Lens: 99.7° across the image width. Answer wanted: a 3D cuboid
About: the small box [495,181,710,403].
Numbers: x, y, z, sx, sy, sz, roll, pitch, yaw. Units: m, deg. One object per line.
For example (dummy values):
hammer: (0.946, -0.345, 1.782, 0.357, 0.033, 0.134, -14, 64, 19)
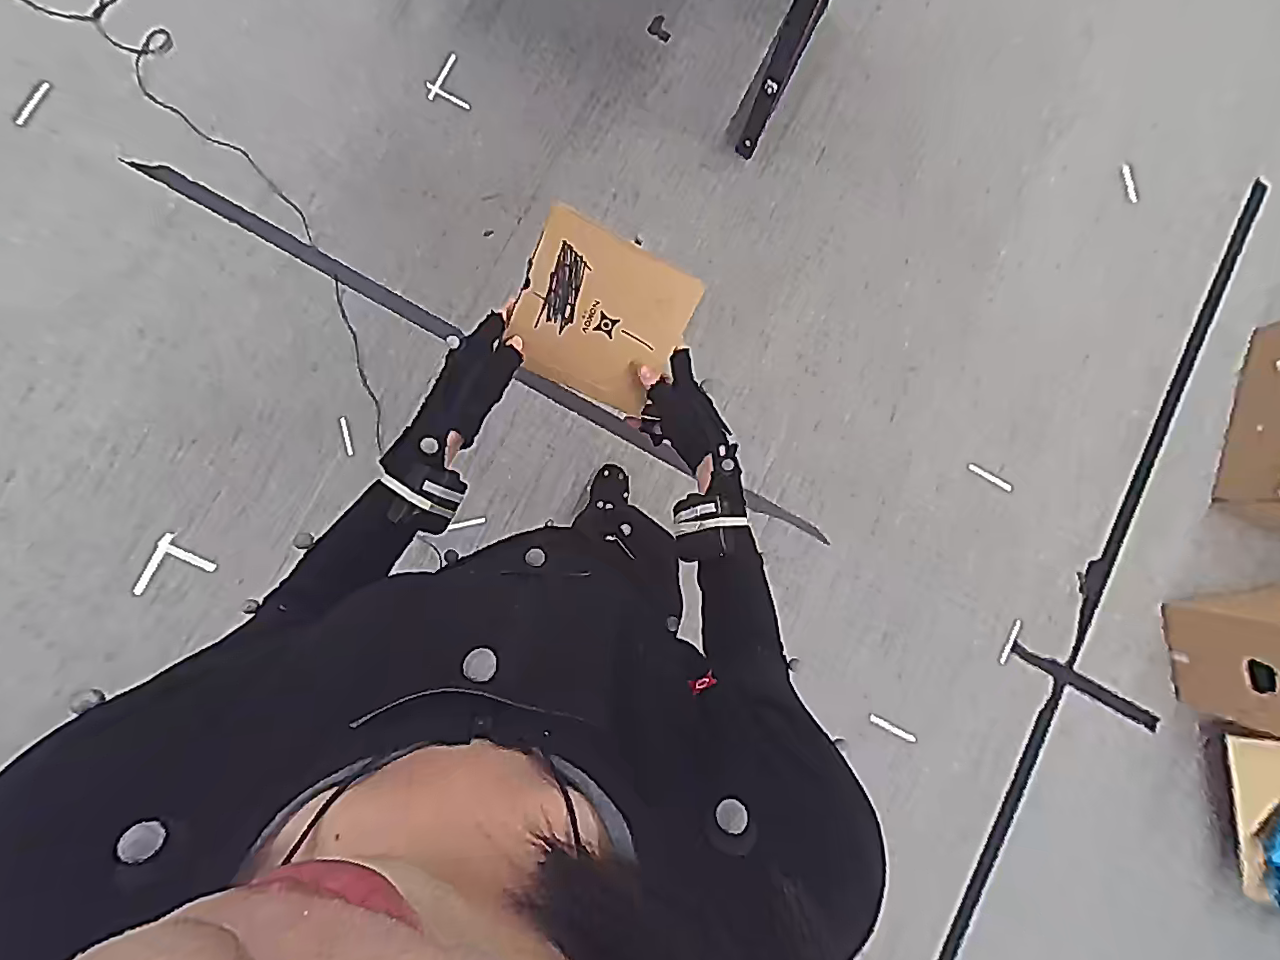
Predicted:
small box: (-0.046, -0.218, 0.631, 0.179, 0.176, 0.168, 23, 112, -16)
